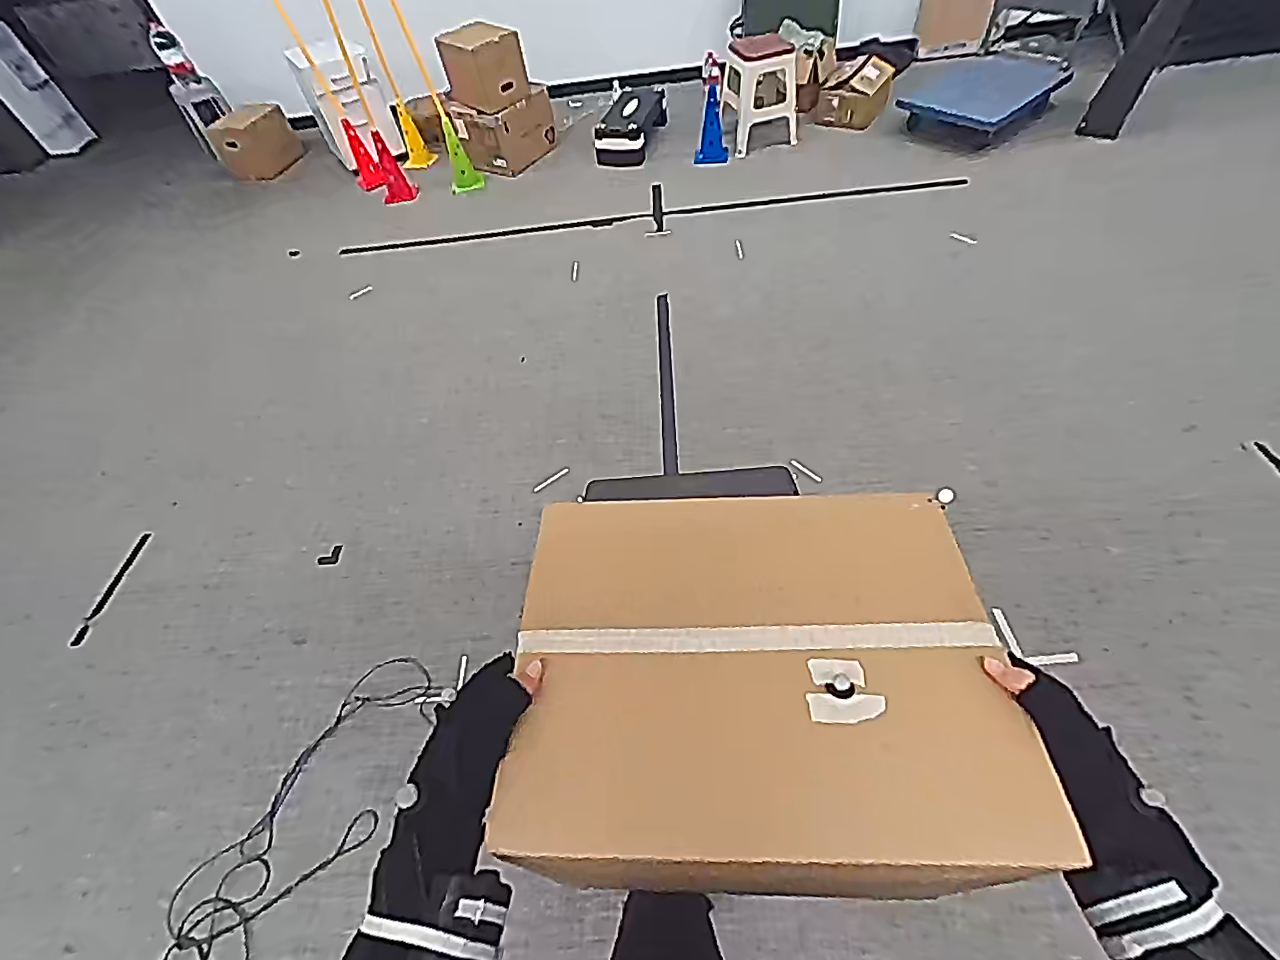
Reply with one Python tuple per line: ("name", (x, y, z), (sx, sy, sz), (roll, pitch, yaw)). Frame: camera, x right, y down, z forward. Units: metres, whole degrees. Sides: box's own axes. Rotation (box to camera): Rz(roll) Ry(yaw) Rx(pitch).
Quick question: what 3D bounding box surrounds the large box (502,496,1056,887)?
("large box", (0.105, 0.238, 0.594), (0.408, 0.320, 0.320), (-2, 49, 4))
